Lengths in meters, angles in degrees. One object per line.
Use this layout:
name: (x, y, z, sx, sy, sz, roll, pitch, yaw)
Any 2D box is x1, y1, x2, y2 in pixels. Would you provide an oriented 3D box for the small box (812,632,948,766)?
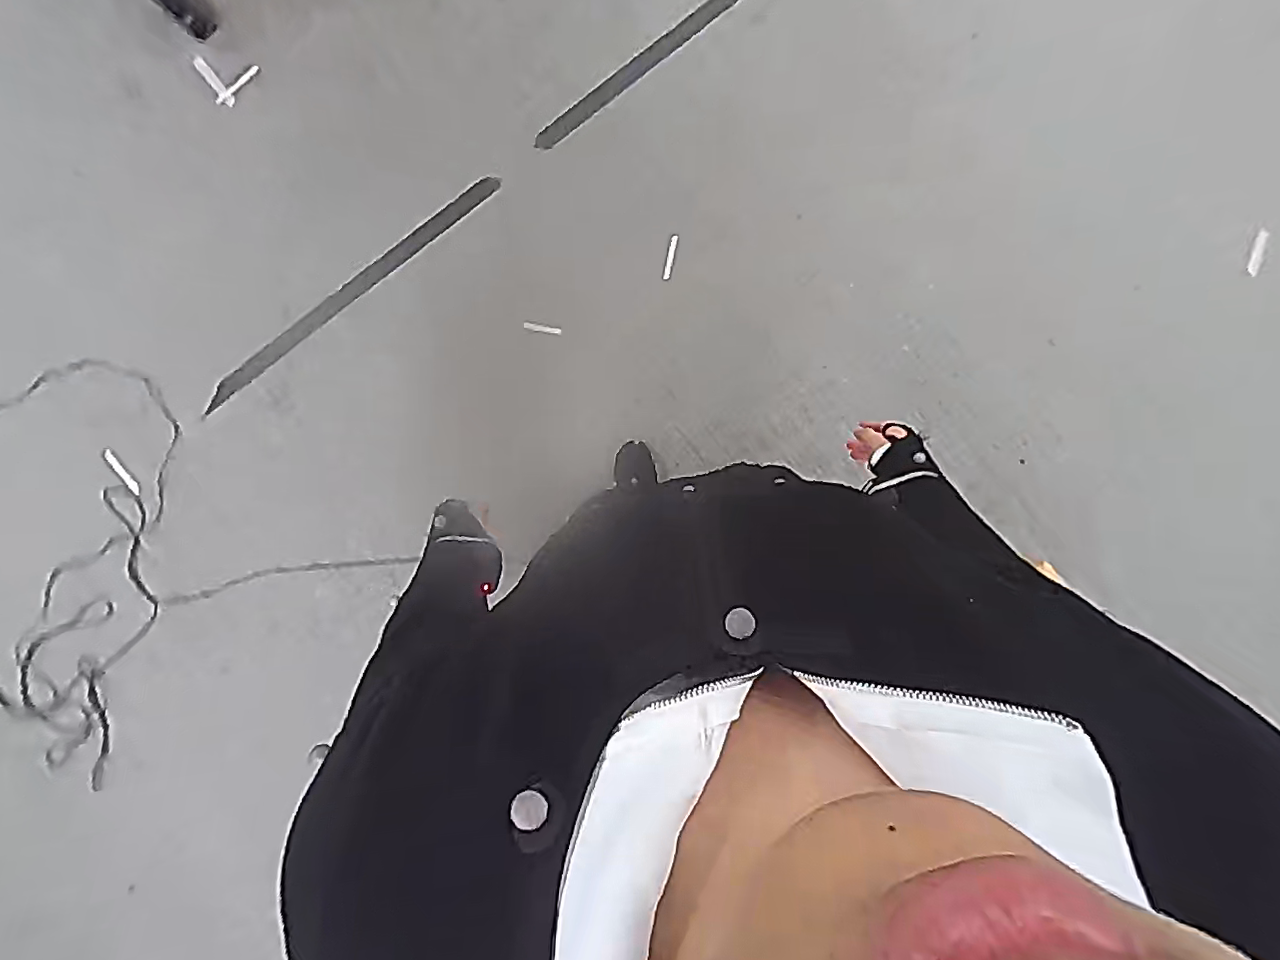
small box: (0.510, 0.464, 1.176, 0.168, 0.176, 0.179, -43, 93, 1)
